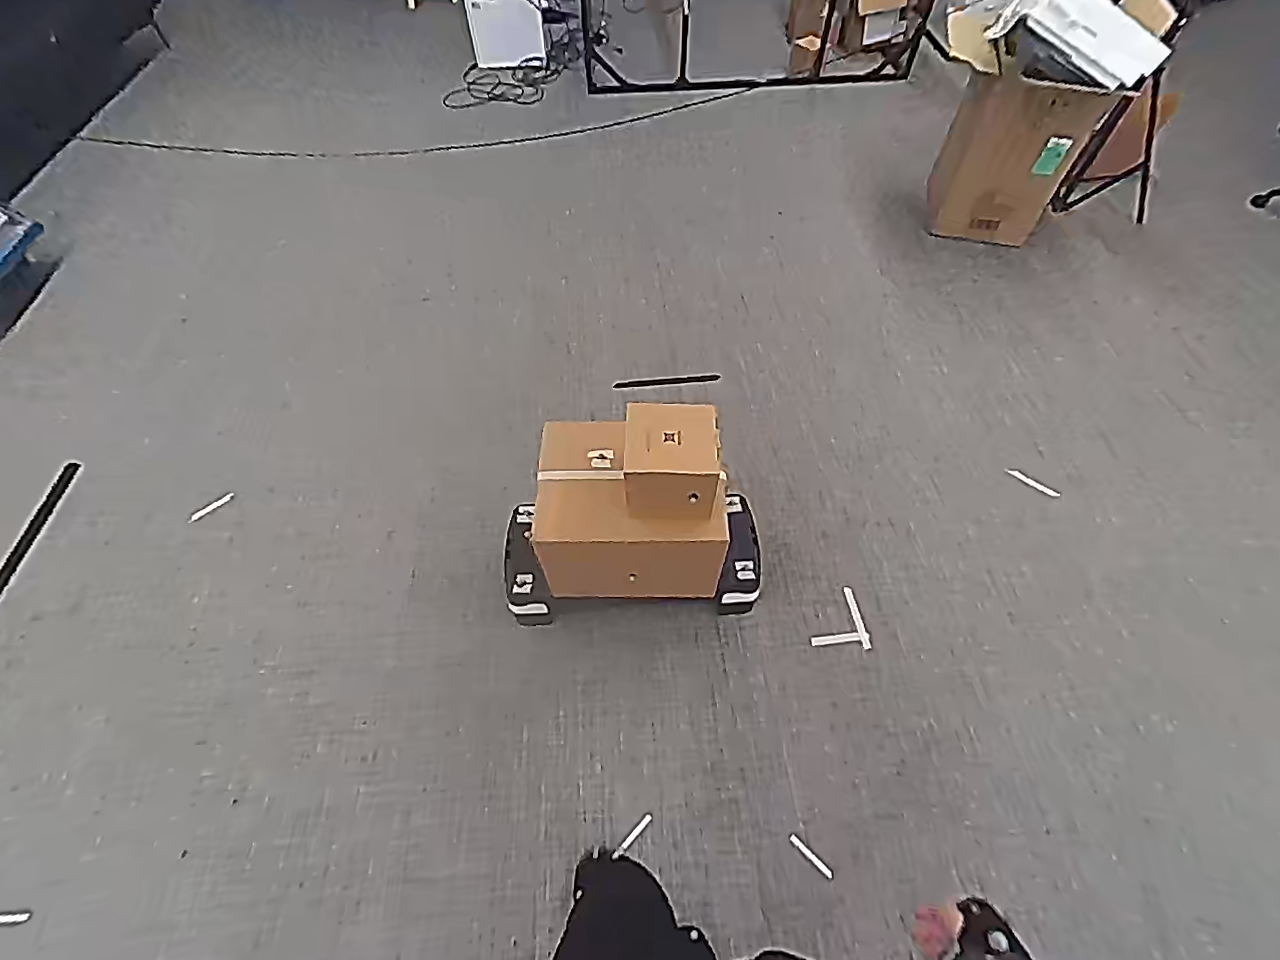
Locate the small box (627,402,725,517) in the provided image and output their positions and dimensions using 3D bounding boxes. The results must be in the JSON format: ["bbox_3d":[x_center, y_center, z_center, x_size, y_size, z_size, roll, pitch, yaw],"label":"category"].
[{"bbox_3d":[0.068,-0.036,1.066,0.179,0.176,0.168,1,57,3],"label":"small box"}]

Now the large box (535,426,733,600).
[{"bbox_3d":[-0.008,0.084,1.282,0.408,0.320,0.320,-1,55,2],"label":"large box"}]

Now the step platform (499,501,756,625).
[{"bbox_3d":[-0.030,0.221,1.478,0.684,0.204,0.286,0,56,3],"label":"step platform"}]
